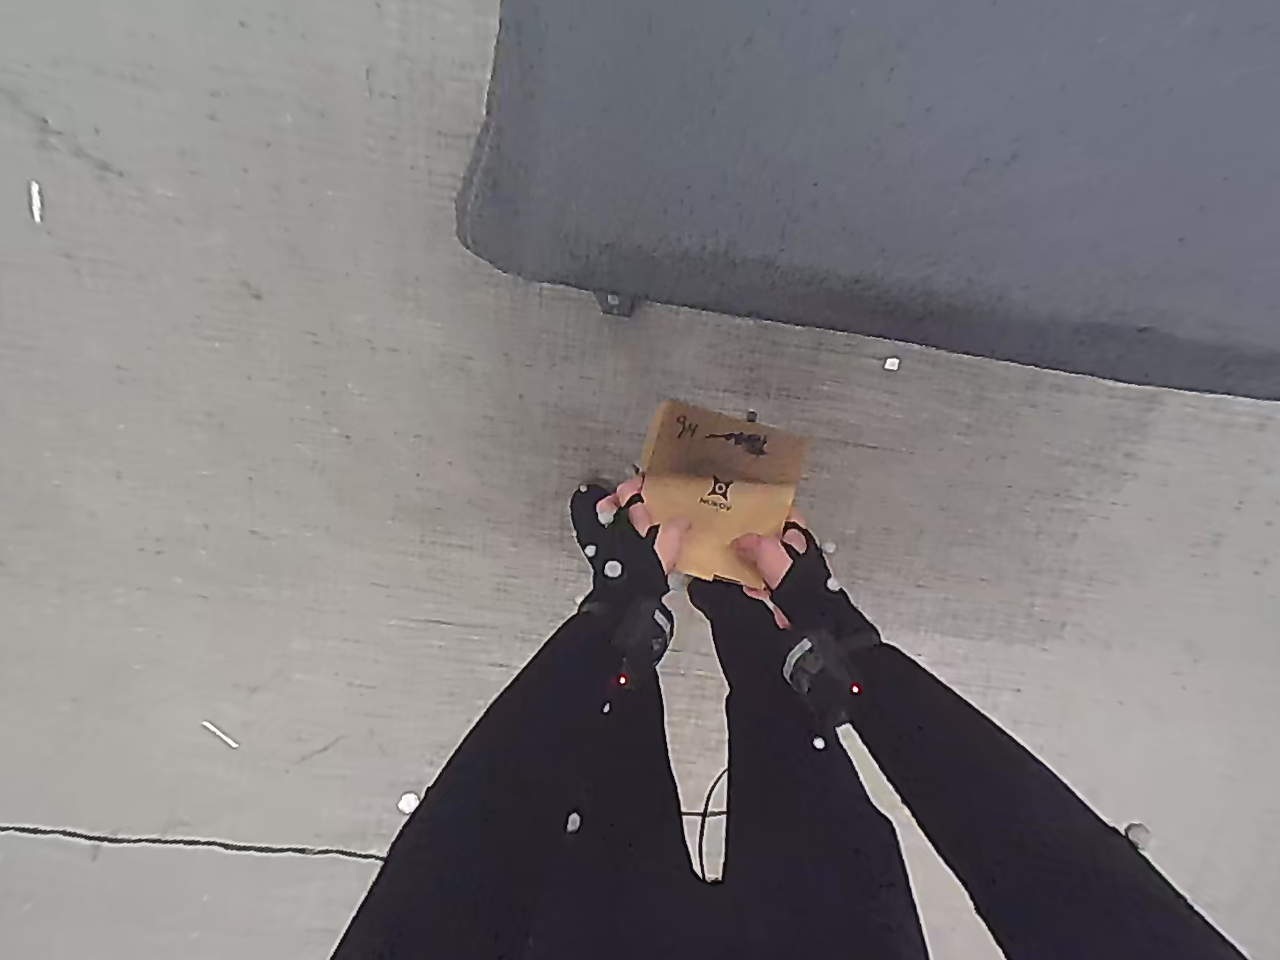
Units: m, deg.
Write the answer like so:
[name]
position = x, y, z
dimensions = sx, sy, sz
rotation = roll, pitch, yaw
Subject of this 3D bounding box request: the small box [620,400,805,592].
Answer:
[small box]
position = 0.076, 0.016, 0.663
dimensions = 0.168, 0.176, 0.179
rotation = 15, 90, -4
